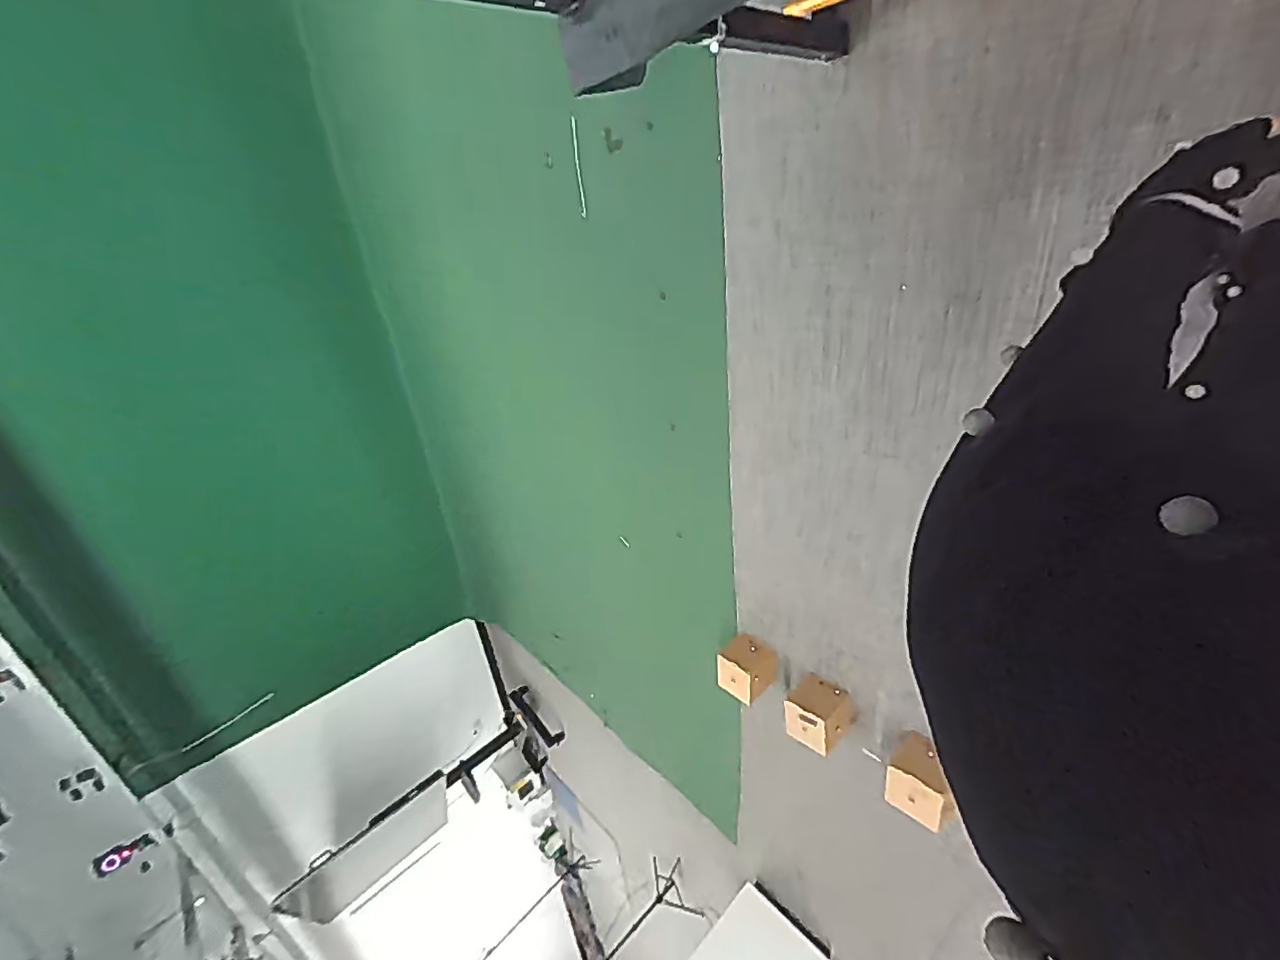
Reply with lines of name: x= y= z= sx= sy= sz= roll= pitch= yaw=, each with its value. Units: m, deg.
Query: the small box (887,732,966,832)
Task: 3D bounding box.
small box: x=0.904 y=0.945 z=1.704 sx=0.168 sy=0.176 sz=0.179 roll=18 pitch=124 yaw=44

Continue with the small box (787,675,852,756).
small box: x=0.653 y=0.848 z=1.965 sx=0.168 sy=0.176 sz=0.179 roll=17 pitch=124 yaw=46

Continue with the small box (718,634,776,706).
small box: x=0.435 y=0.763 z=2.190 sx=0.168 sy=0.176 sz=0.179 roll=22 pitch=127 yaw=42
